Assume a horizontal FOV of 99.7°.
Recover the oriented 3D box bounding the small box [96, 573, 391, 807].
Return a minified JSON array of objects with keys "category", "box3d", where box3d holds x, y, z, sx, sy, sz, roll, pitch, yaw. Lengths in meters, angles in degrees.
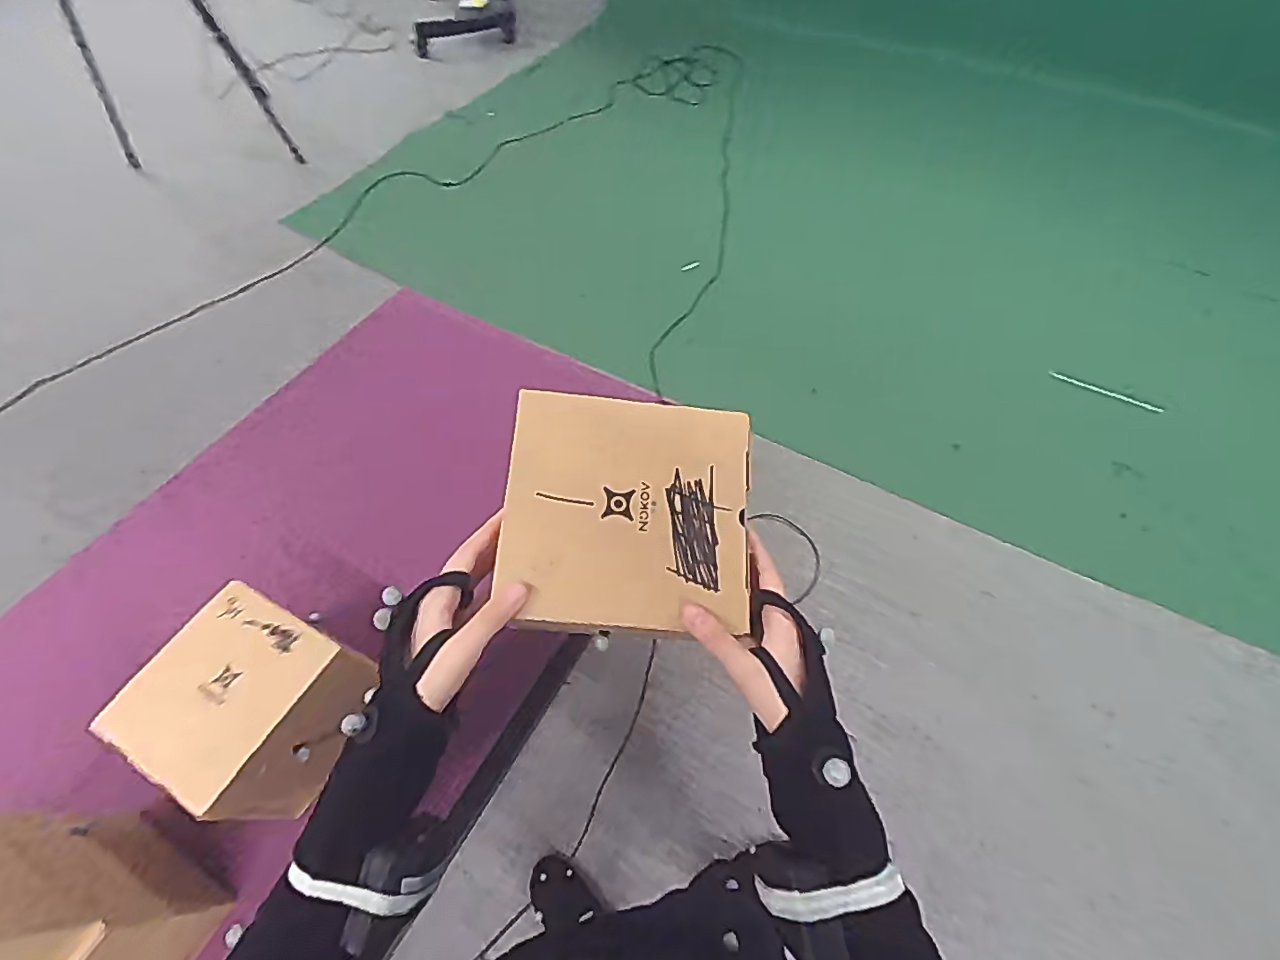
[{"category":"small box","box3d":[-0.427,0.243,0.618,0.168,0.176,0.179,25,62,16]}]
